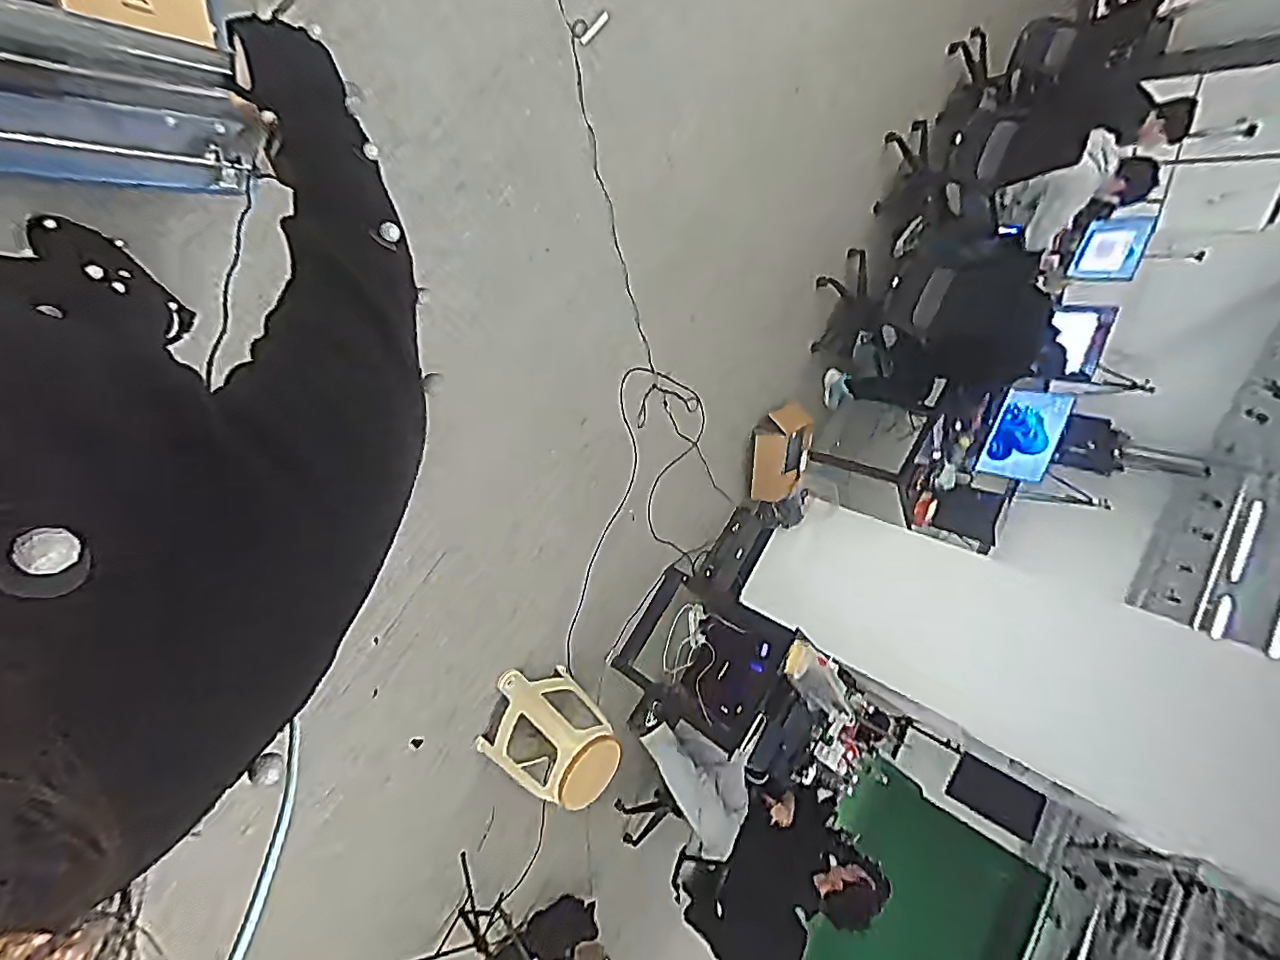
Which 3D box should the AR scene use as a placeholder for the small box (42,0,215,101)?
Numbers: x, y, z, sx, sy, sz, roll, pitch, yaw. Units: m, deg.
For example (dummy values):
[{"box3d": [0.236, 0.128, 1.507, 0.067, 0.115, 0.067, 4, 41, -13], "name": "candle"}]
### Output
[{"box3d": [-0.770, -0.694, 0.808, 0.168, 0.176, 0.179, -19, 120, -43], "name": "small box"}]
